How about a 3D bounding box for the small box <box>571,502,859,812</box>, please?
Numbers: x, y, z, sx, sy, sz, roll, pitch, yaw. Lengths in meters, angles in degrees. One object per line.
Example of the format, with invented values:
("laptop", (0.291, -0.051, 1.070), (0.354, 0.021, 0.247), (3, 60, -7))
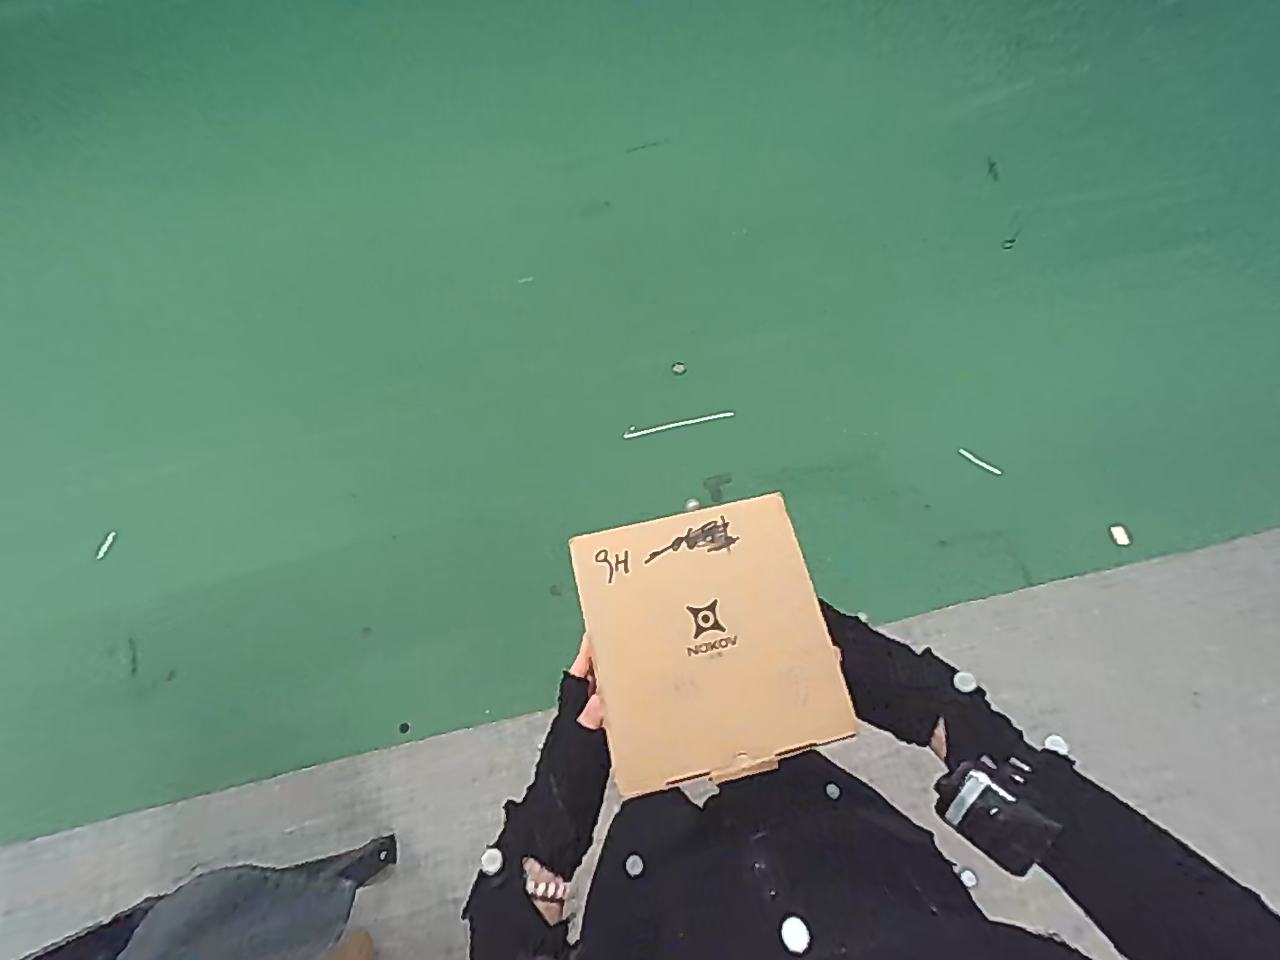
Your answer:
("small box", (0.044, 0.135, 0.445), (0.168, 0.176, 0.179), (-12, 74, -7))
